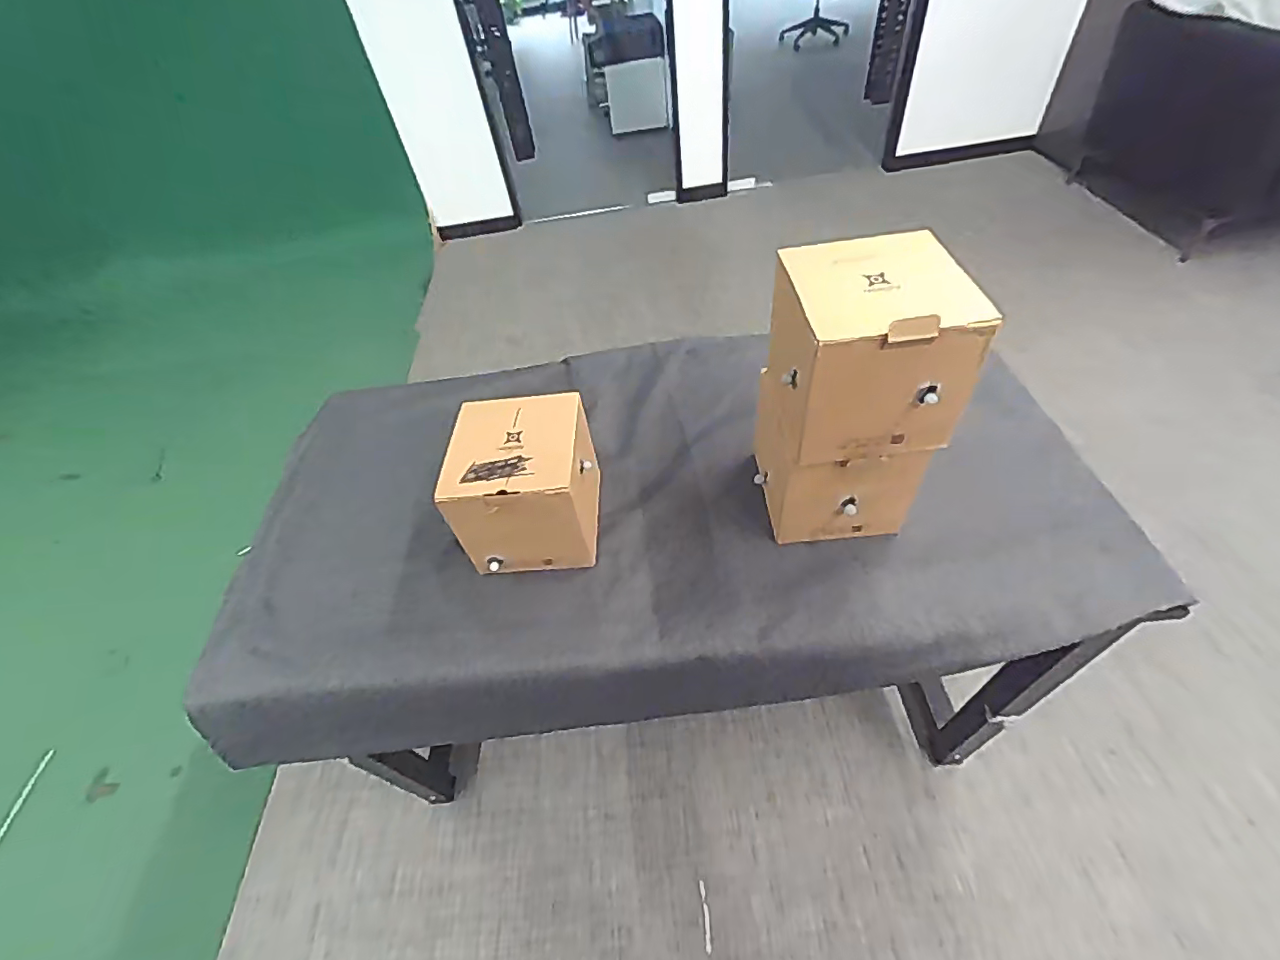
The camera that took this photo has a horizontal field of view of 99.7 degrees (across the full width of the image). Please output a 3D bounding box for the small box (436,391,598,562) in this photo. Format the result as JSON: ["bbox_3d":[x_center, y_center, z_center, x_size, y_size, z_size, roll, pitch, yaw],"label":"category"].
[{"bbox_3d":[-0.153,0.002,0.747,0.168,0.176,0.179,-4,48,4],"label":"small box"}]

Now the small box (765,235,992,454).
[{"bbox_3d":[0.239,-0.142,0.598,0.168,0.176,0.179,-6,48,2],"label":"small box"}]

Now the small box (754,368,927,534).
[{"bbox_3d":[0.250,-0.039,0.724,0.168,0.176,0.179,-5,49,3],"label":"small box"}]
